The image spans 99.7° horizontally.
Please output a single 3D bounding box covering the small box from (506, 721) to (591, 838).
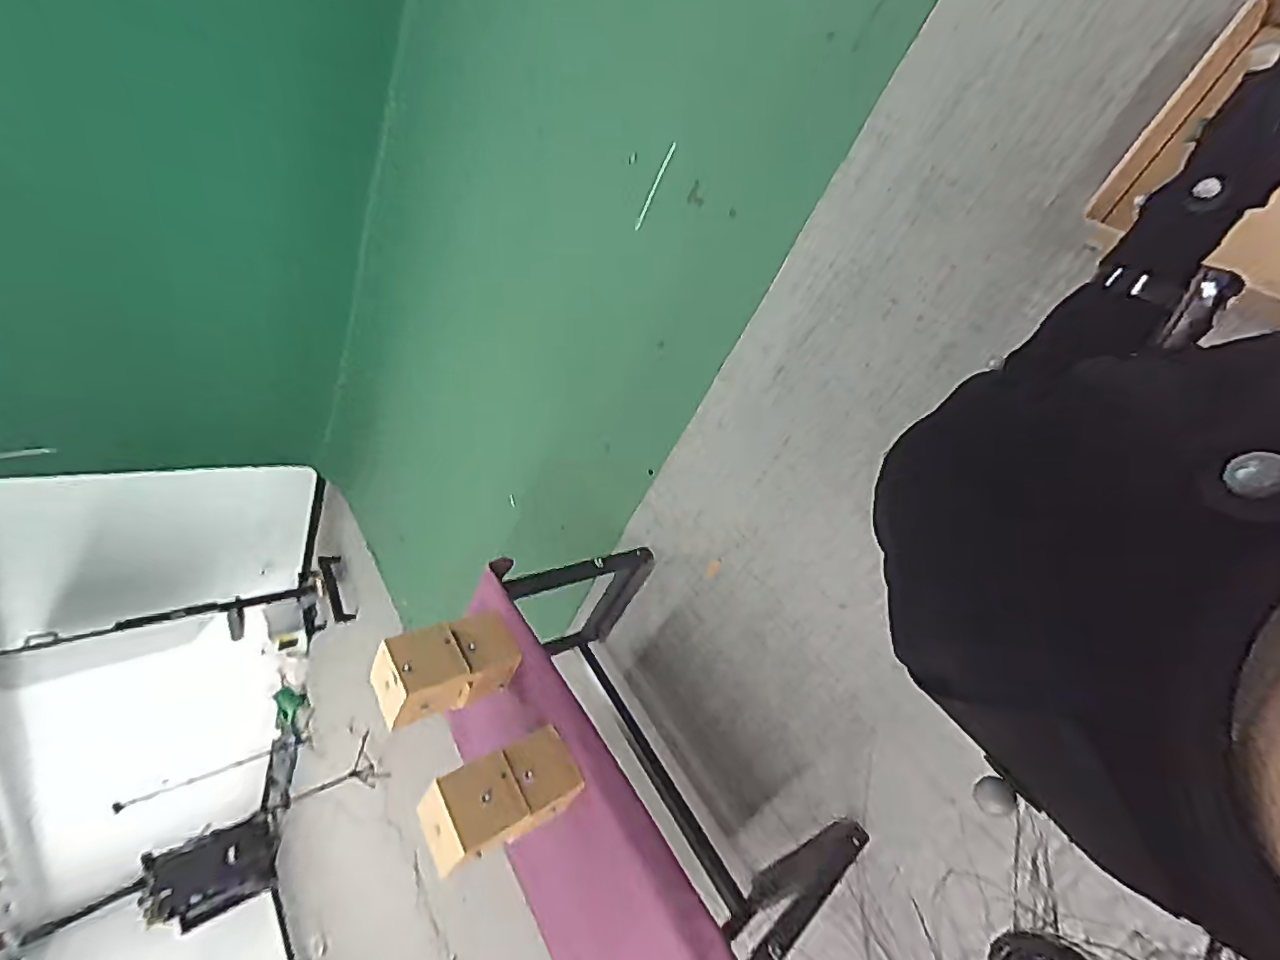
[{"bbox_3d":[-0.252,0.753,1.373,0.179,0.176,0.168,50,127,29],"label":"small box"}]

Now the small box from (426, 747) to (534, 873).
[{"bbox_3d":[-0.368,0.758,1.258,0.168,0.176,0.179,53,127,27],"label":"small box"}]

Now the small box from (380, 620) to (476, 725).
[{"bbox_3d":[-0.549,0.494,1.404,0.168,0.176,0.179,50,126,28],"label":"small box"}]

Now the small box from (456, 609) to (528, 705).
[{"bbox_3d":[-0.444,0.493,1.531,0.179,0.176,0.168,48,124,30],"label":"small box"}]
